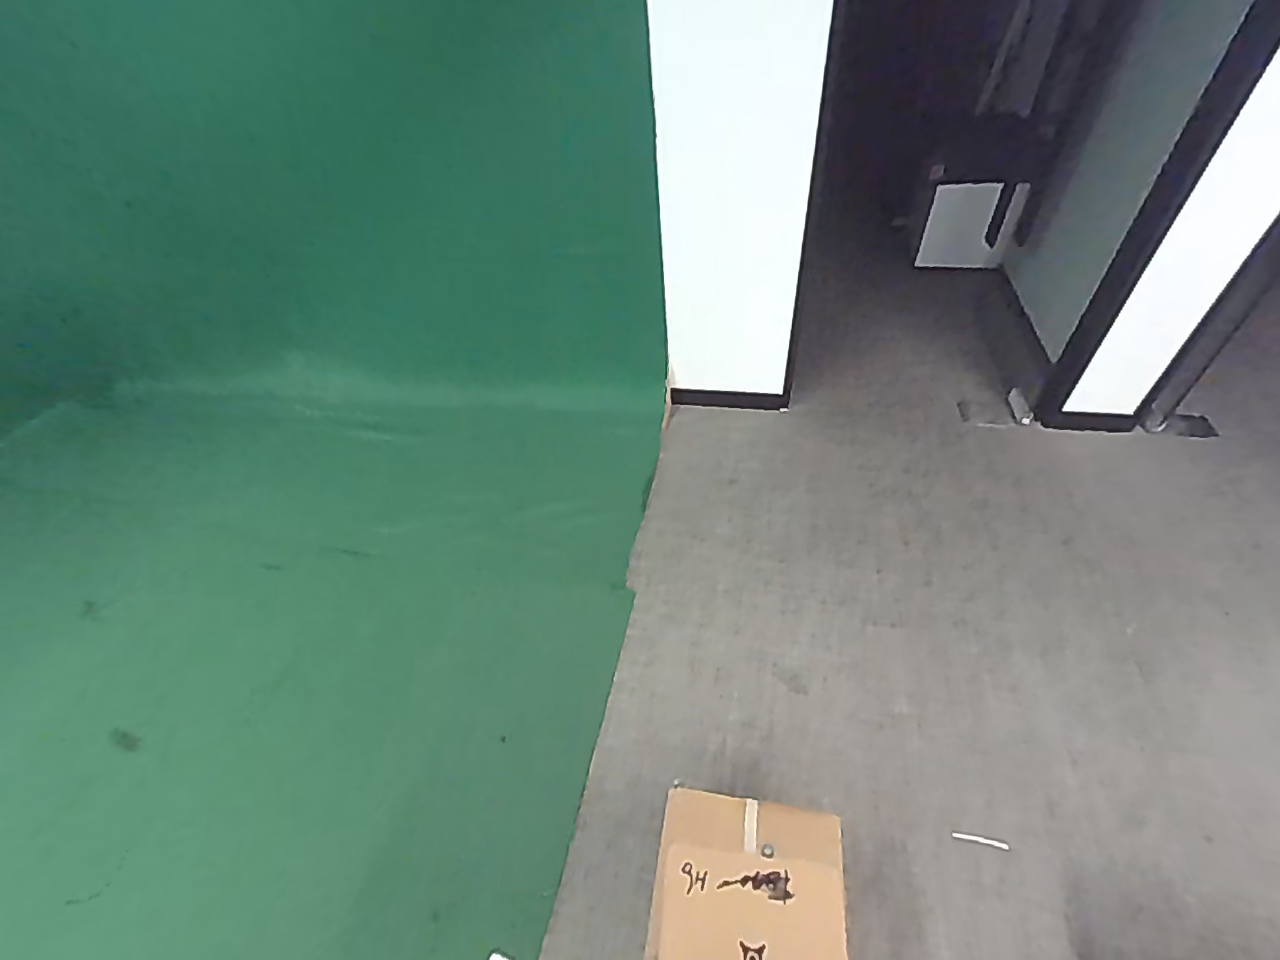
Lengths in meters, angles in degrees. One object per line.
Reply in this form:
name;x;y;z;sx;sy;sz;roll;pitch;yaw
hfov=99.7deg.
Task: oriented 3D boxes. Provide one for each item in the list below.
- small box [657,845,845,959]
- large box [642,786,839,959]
small box;0.103;0.484;0.525;0.168;0.176;0.179;2;46;9
large box;0.179;0.840;0.971;0.320;0.320;0.408;5;46;11
